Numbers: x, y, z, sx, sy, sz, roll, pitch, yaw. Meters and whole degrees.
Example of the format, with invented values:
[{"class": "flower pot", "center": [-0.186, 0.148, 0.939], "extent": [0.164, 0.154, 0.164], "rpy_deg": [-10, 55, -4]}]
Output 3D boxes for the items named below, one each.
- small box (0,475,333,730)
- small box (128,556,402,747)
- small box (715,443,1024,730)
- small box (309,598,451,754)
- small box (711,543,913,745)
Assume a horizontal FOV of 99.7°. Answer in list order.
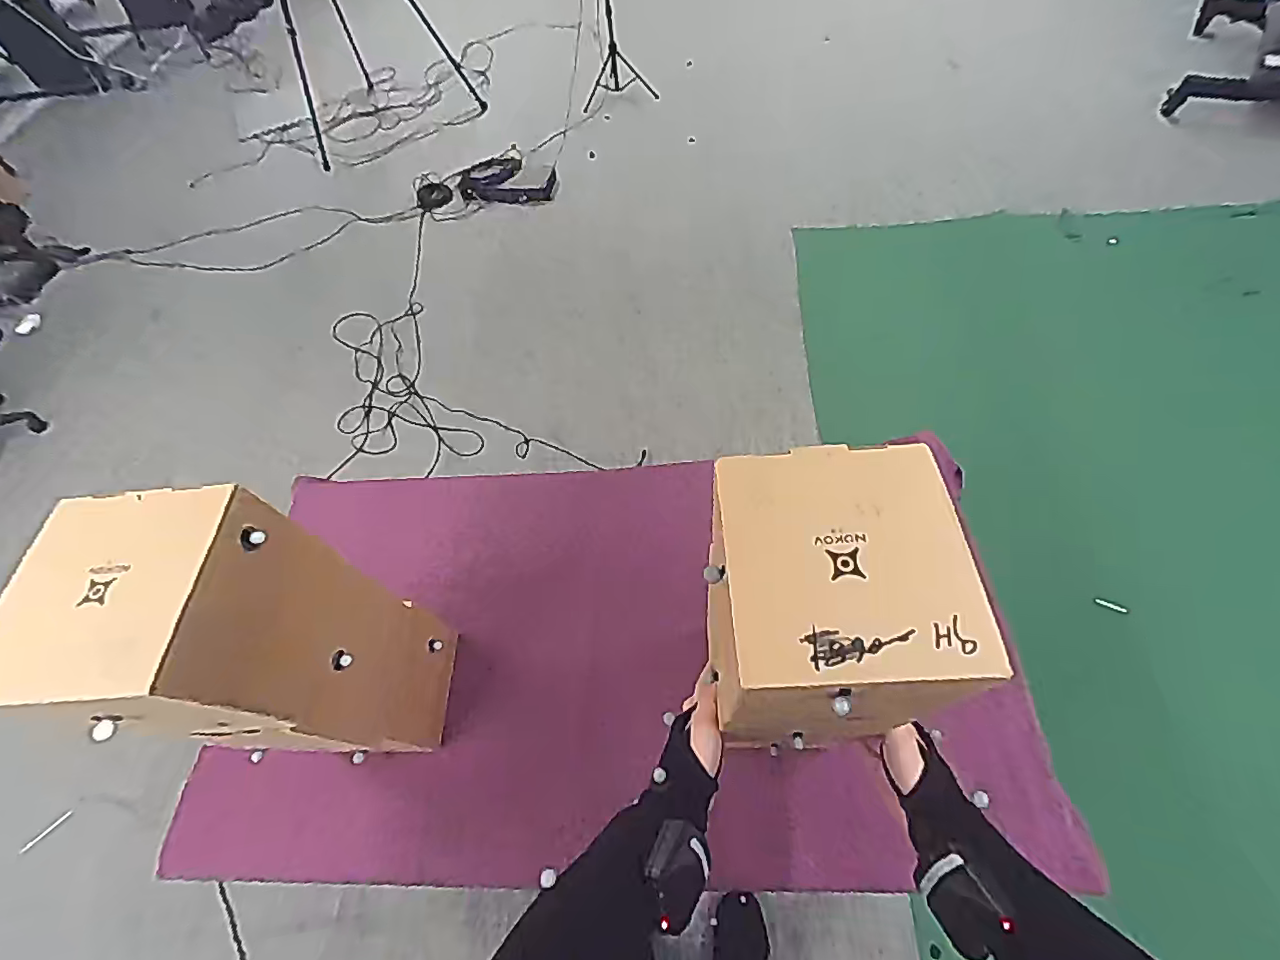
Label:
[{"class": "small box", "center": [-0.409, 0.117, 0.478], "extent": [0.168, 0.176, 0.179], "rpy_deg": [-5, 57, 4]}, {"class": "small box", "center": [-0.400, 0.201, 0.616], "extent": [0.168, 0.176, 0.179], "rpy_deg": [-3, 57, 5]}, {"class": "small box", "center": [0.150, 0.092, 0.432], "extent": [0.168, 0.176, 0.179], "rpy_deg": [-4, 58, 5]}, {"class": "small box", "center": [-0.384, 0.278, 0.759], "extent": [0.168, 0.176, 0.179], "rpy_deg": [-3, 59, 5]}, {"class": "small box", "center": [0.161, 0.177, 0.571], "extent": [0.168, 0.176, 0.179], "rpy_deg": [-2, 58, 5]}]
